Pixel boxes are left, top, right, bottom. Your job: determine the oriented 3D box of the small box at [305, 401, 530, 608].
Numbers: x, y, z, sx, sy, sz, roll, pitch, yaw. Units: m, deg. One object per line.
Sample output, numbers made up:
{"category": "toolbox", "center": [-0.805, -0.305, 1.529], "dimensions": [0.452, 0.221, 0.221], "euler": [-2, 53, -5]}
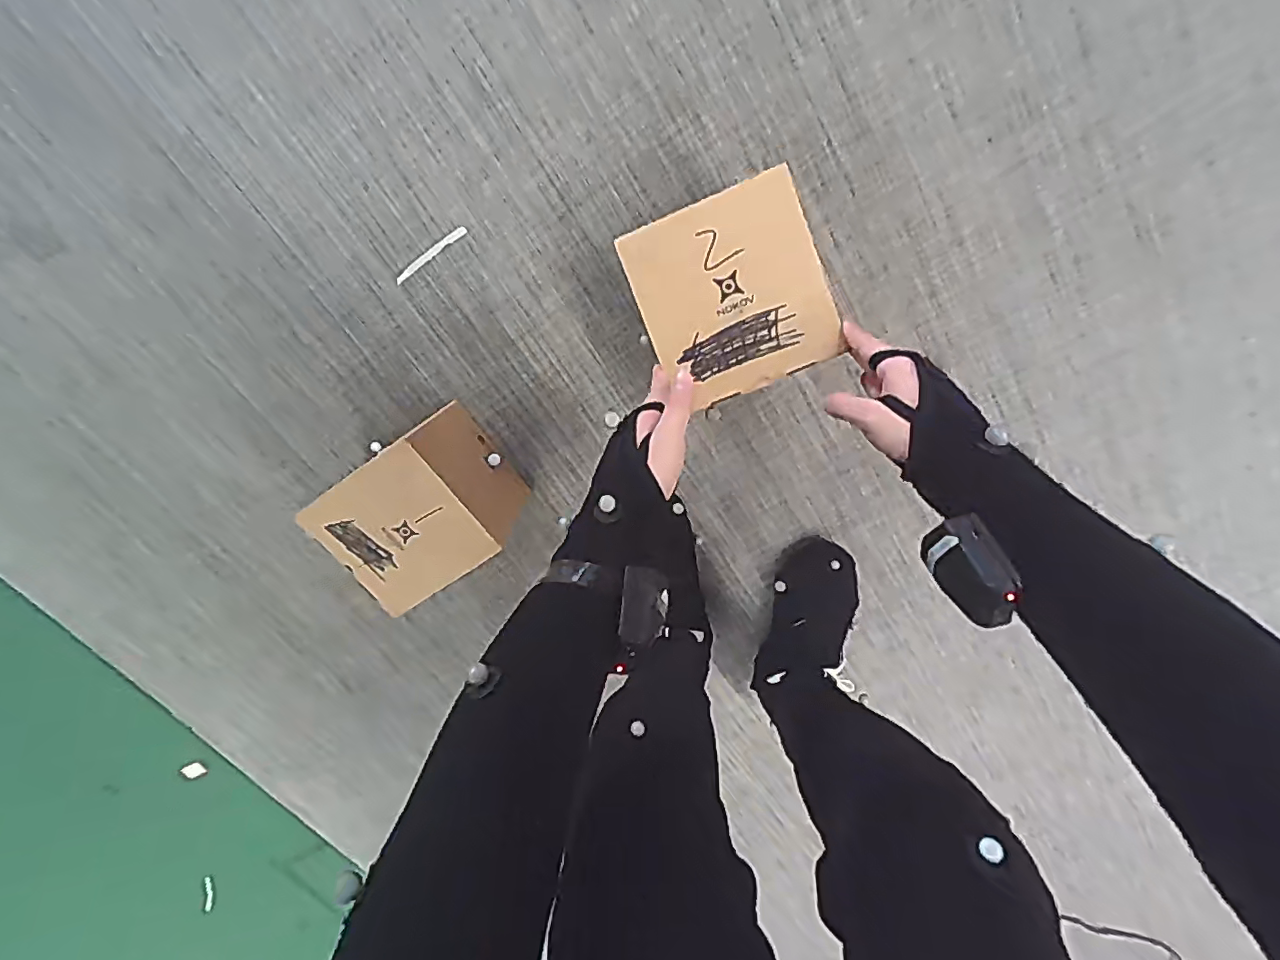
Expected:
{"category": "small box", "center": [-0.265, 0.023, 0.692], "dimensions": [0.179, 0.176, 0.168], "euler": [-32, 108, 12]}
